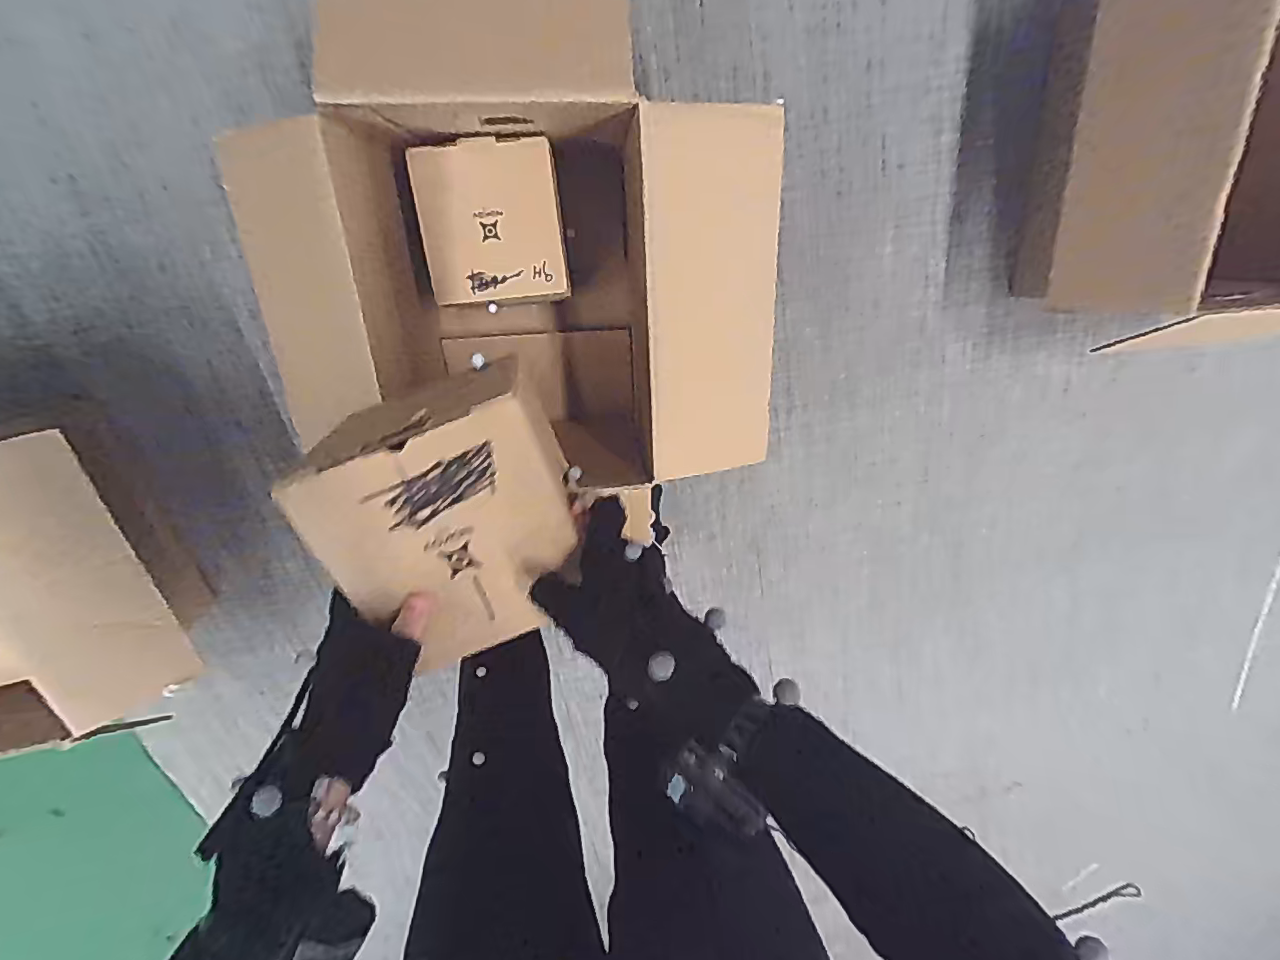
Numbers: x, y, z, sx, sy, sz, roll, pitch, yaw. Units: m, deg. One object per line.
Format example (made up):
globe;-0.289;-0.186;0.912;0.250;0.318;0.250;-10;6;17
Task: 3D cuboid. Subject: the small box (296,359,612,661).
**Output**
small box;-0.139;0.009;0.457;0.168;0.176;0.179;-21;116;-3
